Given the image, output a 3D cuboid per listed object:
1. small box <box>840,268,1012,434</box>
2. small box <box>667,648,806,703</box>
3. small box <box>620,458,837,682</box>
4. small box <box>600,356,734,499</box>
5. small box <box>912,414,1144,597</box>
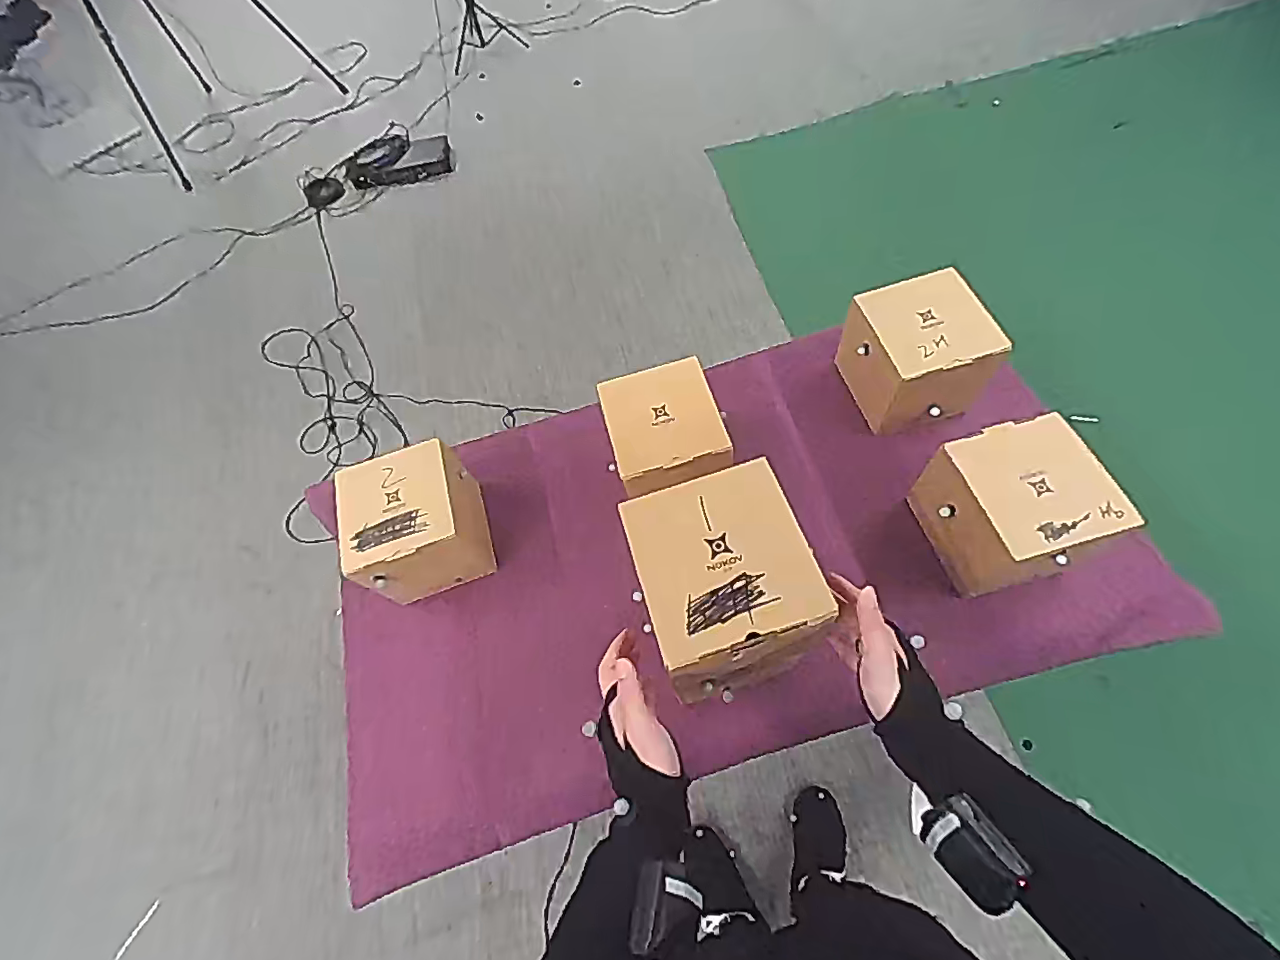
[{"bbox_3d":[0.446,-0.204,0.881,0.168,0.176,0.179,-16,62,2],"label":"small box"},{"bbox_3d":[0.102,0.185,0.734,0.168,0.176,0.179,-17,62,-1],"label":"small box"},{"bbox_3d":[0.089,0.108,0.589,0.168,0.176,0.179,-17,61,-1],"label":"small box"},{"bbox_3d":[0.042,-0.063,0.867,0.168,0.176,0.179,-16,64,-2],"label":"small box"},{"bbox_3d":[0.513,0.042,0.753,0.168,0.176,0.179,-16,61,0],"label":"small box"}]
